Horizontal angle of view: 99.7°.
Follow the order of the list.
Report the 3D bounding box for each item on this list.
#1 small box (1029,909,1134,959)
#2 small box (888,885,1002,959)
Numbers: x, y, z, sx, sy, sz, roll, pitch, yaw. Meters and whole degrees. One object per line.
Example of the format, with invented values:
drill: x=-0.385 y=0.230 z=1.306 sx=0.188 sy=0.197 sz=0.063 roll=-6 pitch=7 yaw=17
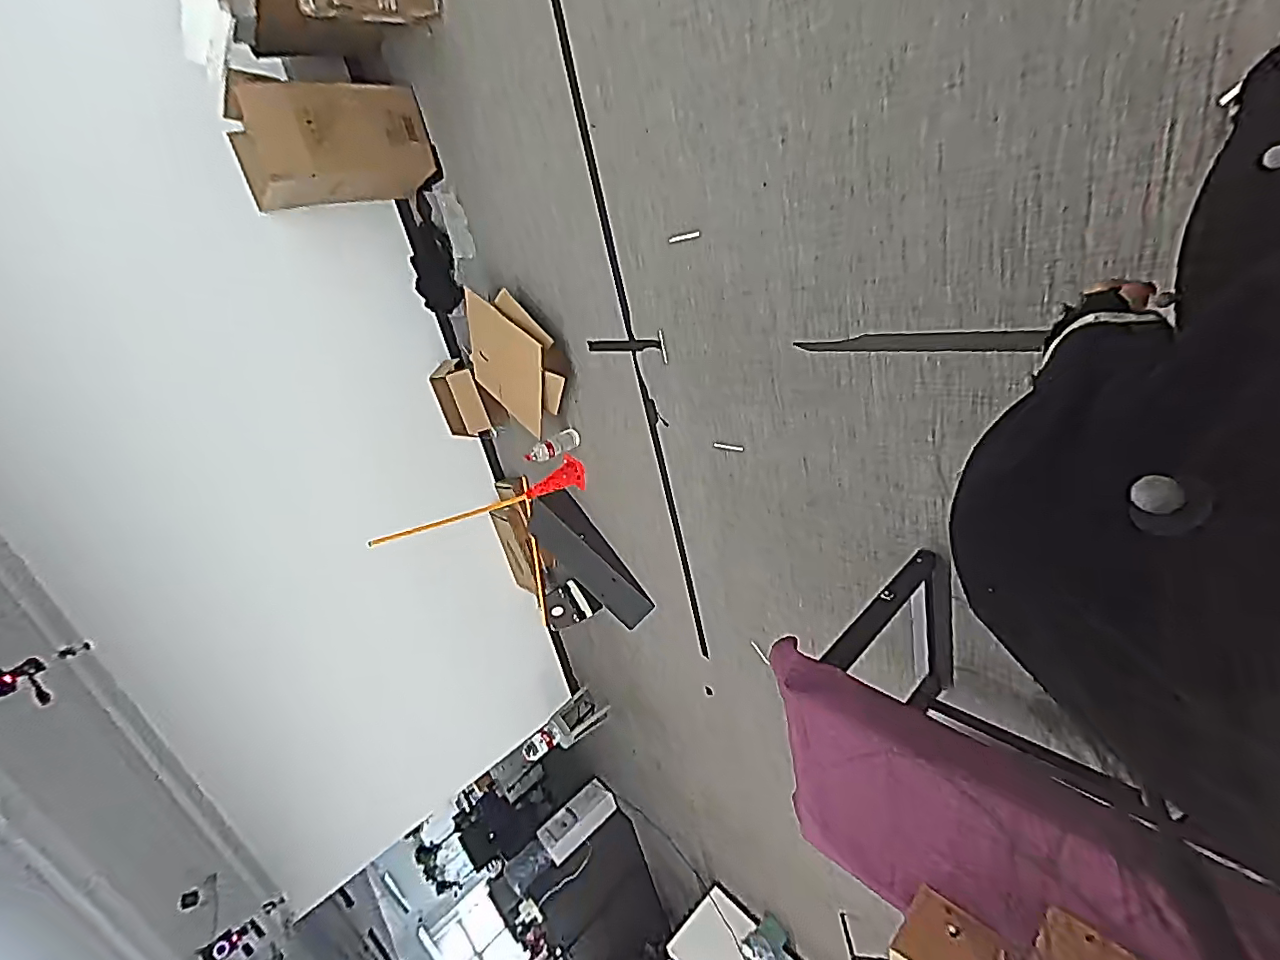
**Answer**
small box: x=0.760 y=0.894 z=0.918 sx=0.168 sy=0.176 sz=0.179 roll=15 pitch=127 yaw=48
small box: x=0.658 y=1.042 z=1.166 sx=0.168 sy=0.176 sz=0.179 roll=14 pitch=124 yaw=48
